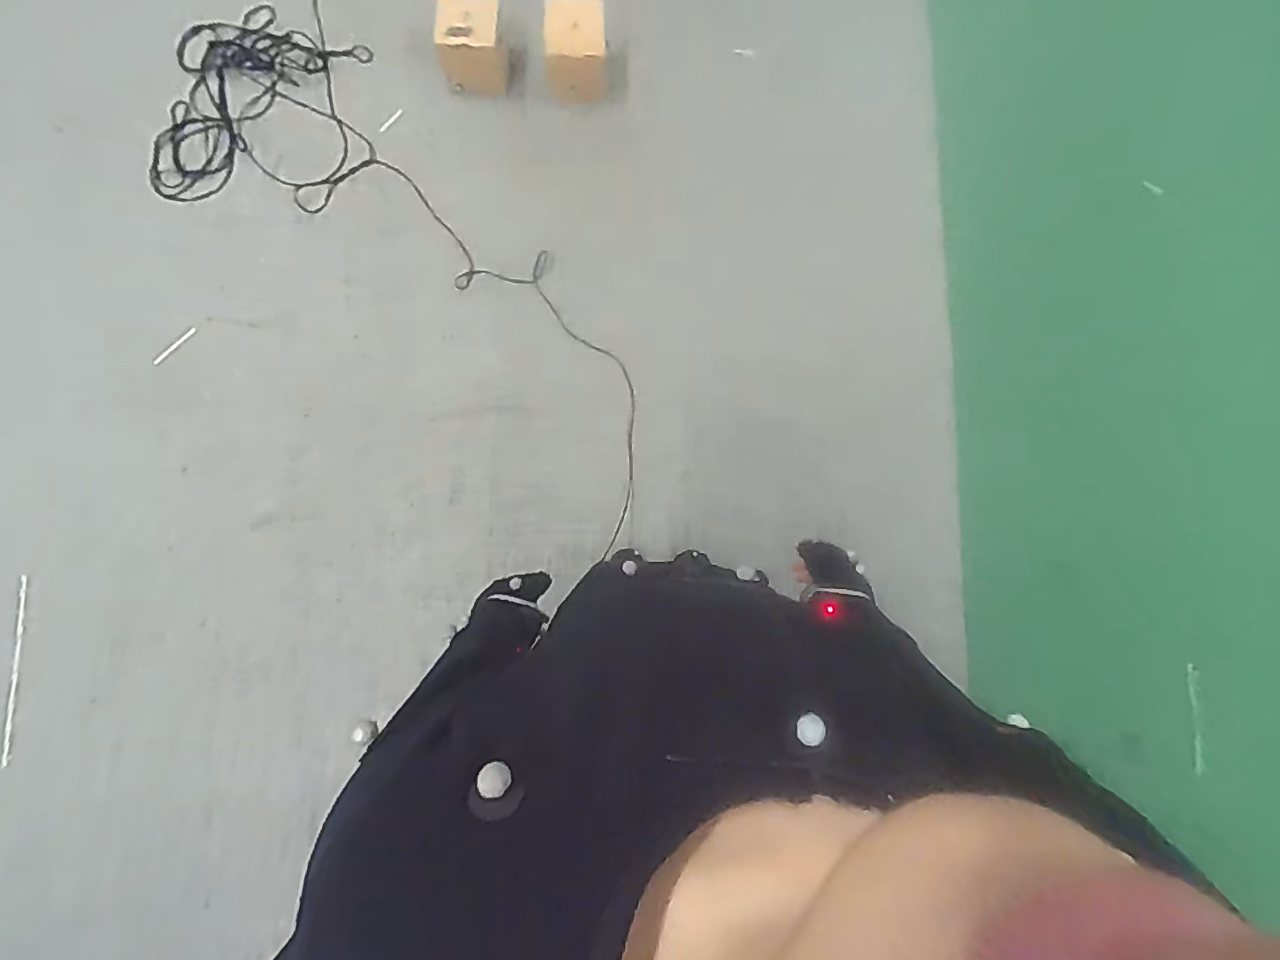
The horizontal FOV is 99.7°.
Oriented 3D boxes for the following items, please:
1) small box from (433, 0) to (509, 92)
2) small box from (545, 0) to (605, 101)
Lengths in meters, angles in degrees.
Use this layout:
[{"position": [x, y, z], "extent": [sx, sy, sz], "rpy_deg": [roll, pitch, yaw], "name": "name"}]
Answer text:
[{"position": [-0.476, -1.254, 1.543], "extent": [0.168, 0.176, 0.179], "rpy_deg": [3, 83, -3], "name": "small box"}, {"position": [-0.185, -1.243, 1.559], "extent": [0.168, 0.176, 0.179], "rpy_deg": [-2, 85, -3], "name": "small box"}]
